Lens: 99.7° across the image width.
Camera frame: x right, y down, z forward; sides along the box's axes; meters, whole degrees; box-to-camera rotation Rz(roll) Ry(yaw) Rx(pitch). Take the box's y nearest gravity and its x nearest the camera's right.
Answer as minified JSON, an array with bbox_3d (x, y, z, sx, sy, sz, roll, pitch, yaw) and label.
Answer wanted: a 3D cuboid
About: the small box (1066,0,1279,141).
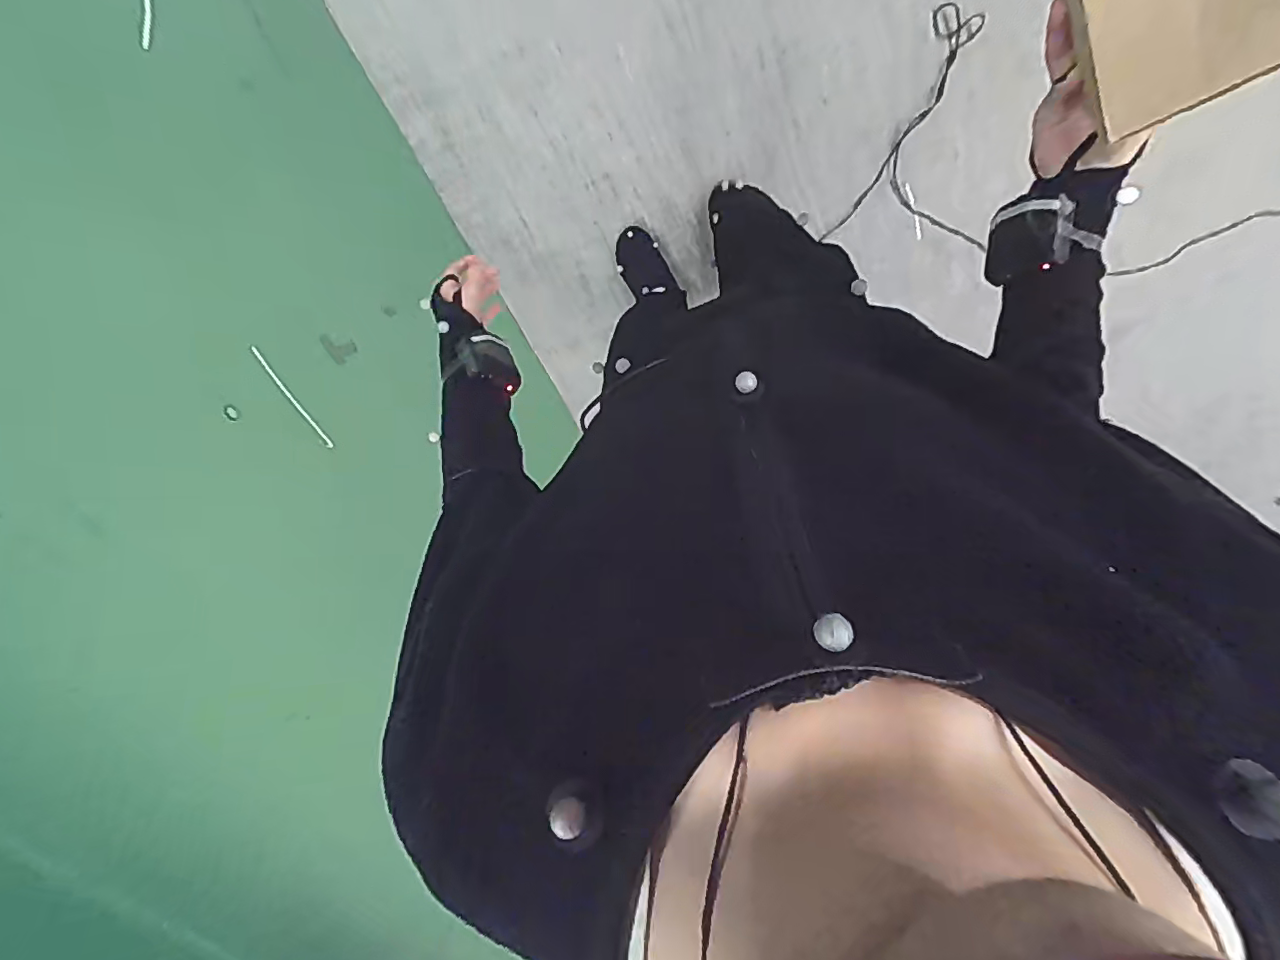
[{"bbox_3d":[0.348,-0.331,0.297,0.179,0.168,0.176,-13,117,42],"label":"small box"}]

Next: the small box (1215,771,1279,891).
[{"bbox_3d":[1.345,0.709,1.090,0.179,0.176,0.168,-12,115,6],"label":"small box"}]

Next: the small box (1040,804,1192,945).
[{"bbox_3d":[0.998,0.827,1.144,0.179,0.176,0.168,-24,113,9],"label":"small box"}]
